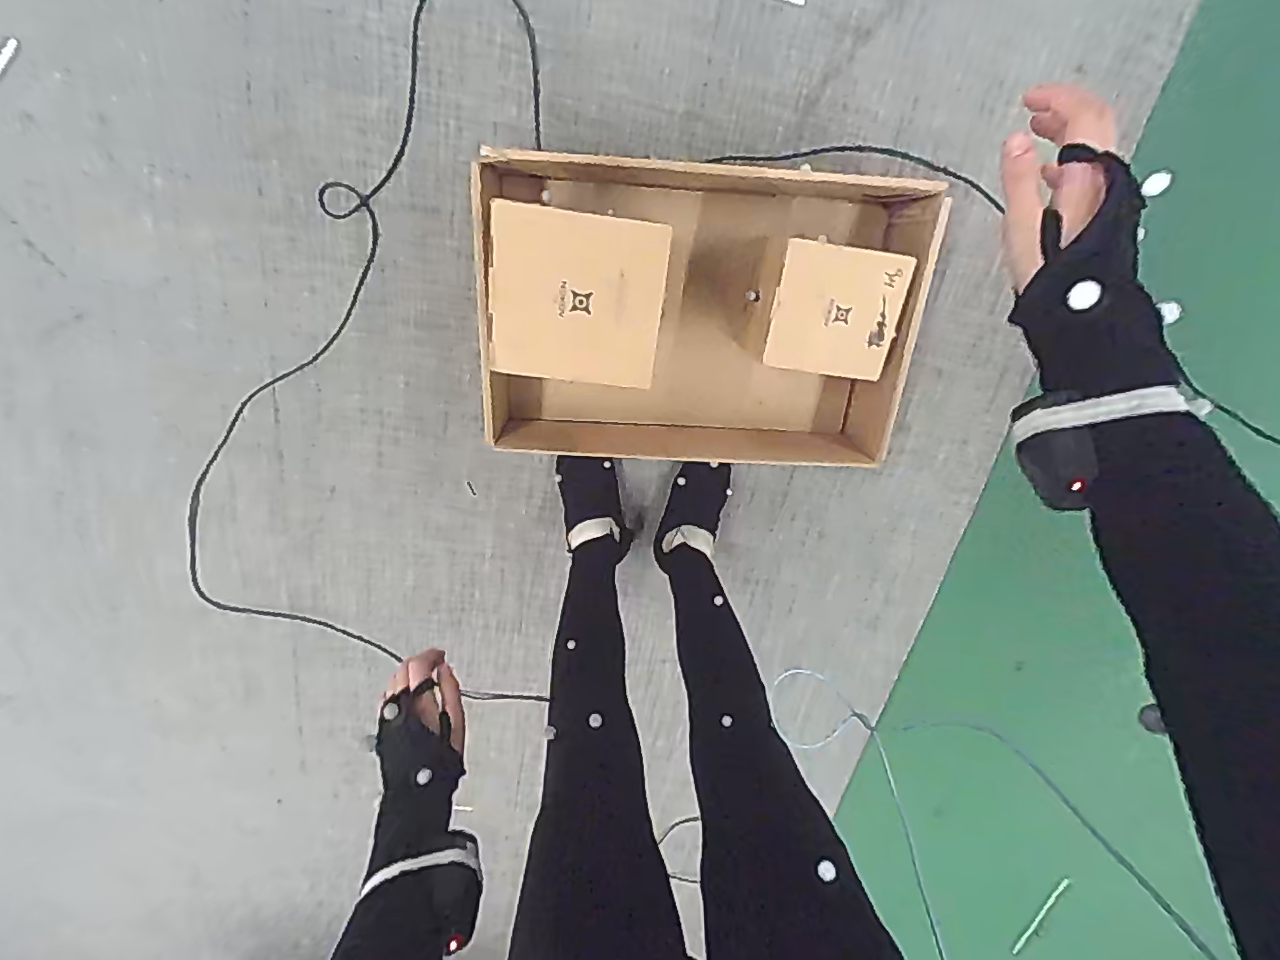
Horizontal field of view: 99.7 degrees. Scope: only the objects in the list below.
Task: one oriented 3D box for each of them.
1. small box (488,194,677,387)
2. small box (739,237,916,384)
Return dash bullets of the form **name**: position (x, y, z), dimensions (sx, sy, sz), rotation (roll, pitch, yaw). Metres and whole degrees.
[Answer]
- **small box**: position (-0.066, -0.216, 0.617), dimensions (0.179, 0.176, 0.168), rotation (6, 114, -7)
- **small box**: position (0.258, -0.252, 0.796), dimensions (0.179, 0.176, 0.168), rotation (8, 113, -6)
